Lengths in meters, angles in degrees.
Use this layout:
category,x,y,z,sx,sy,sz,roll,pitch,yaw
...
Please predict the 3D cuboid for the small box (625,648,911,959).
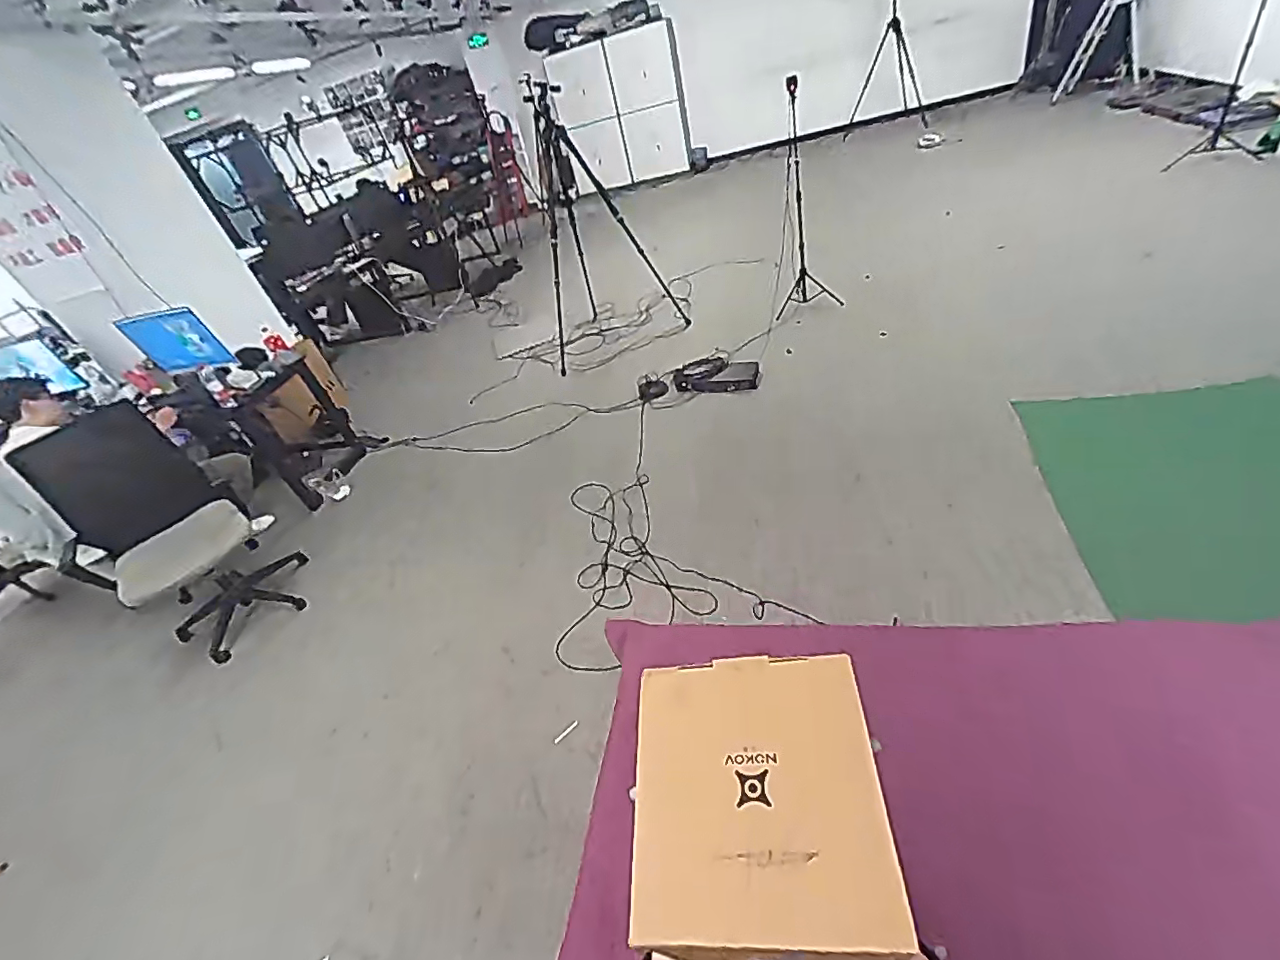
category,x,y,z,sx,sy,sz,roll,pitch,yaw
small box,0.094,0.254,0.424,0.168,0.176,0.179,-9,45,13
